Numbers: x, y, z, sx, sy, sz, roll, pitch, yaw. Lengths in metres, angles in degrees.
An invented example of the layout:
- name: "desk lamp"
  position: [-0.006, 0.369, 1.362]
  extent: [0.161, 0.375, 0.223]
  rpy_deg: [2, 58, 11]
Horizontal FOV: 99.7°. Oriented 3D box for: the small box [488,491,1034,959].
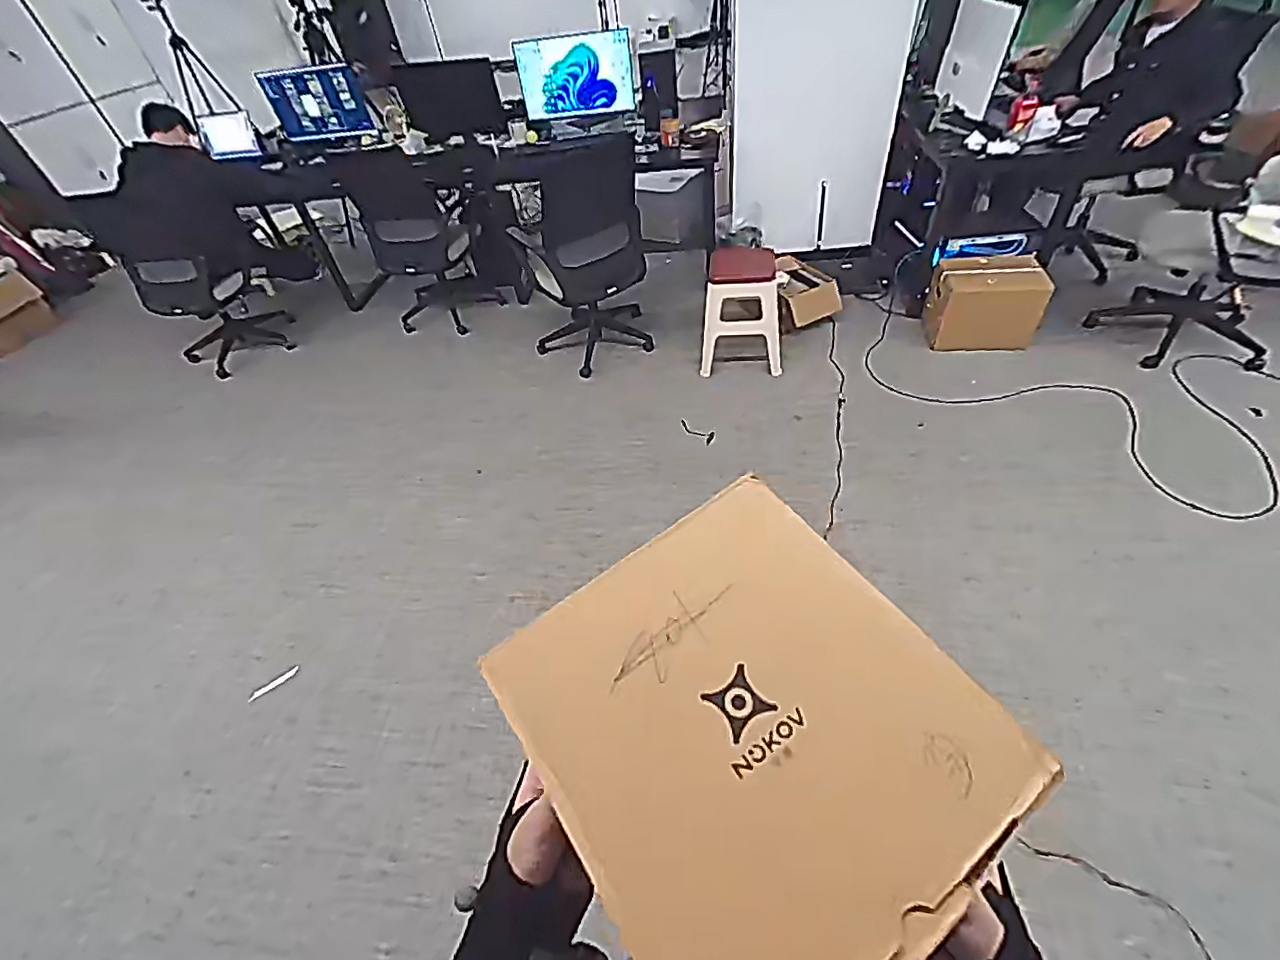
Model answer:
- name: "small box"
  position: [0.050, 0.146, 0.299]
  extent: [0.168, 0.176, 0.179]
  rpy_deg: [-34, 59, -18]
